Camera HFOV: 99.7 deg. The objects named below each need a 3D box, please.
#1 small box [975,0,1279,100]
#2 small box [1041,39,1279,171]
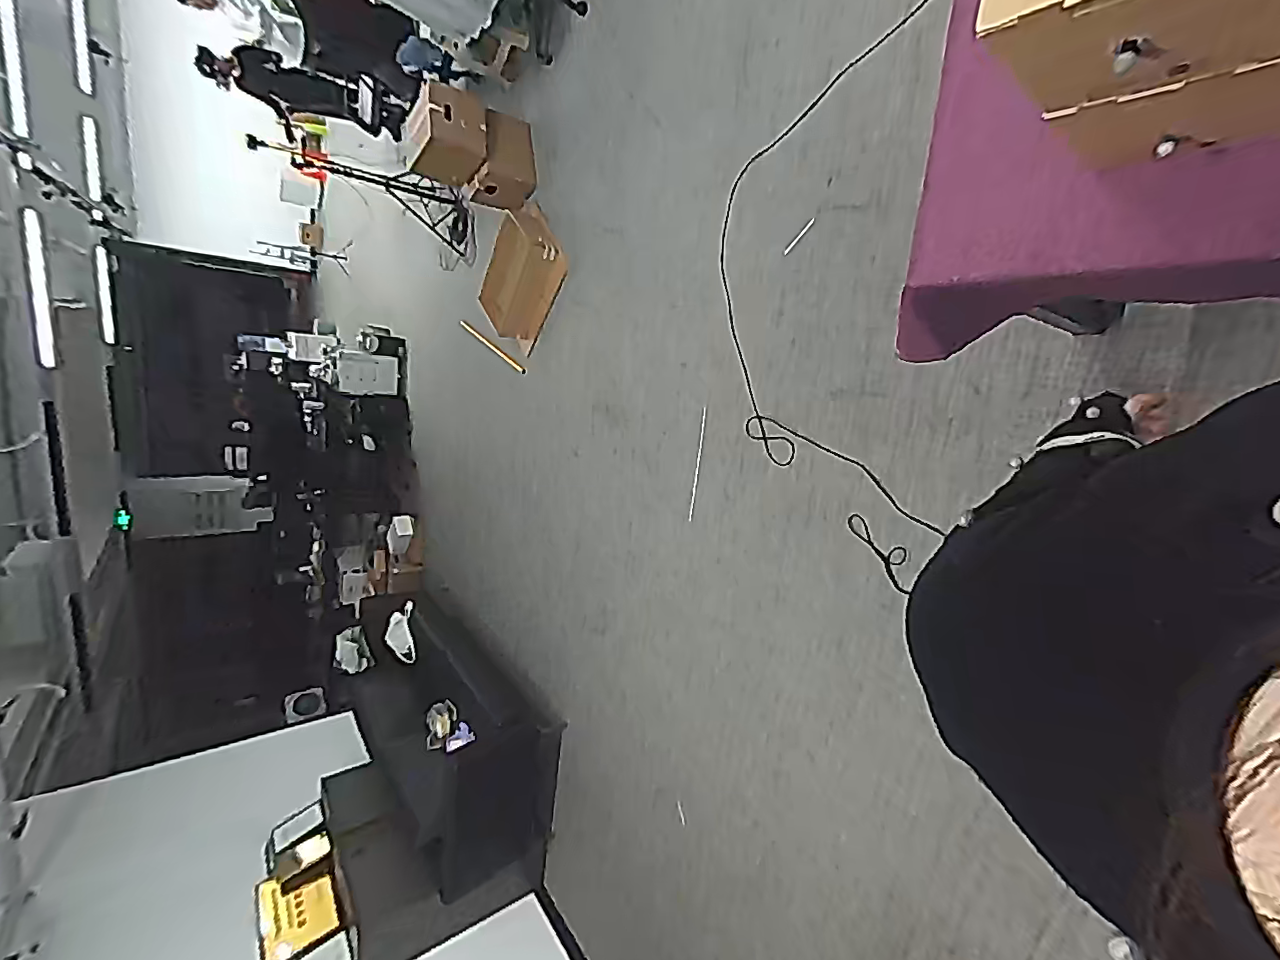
[{"bbox_3d":[0.393,-0.426,0.412,0.168,0.176,0.179,19,108,49],"label":"small box"},{"bbox_3d":[0.523,-0.428,0.514,0.168,0.176,0.179,20,108,50],"label":"small box"}]
